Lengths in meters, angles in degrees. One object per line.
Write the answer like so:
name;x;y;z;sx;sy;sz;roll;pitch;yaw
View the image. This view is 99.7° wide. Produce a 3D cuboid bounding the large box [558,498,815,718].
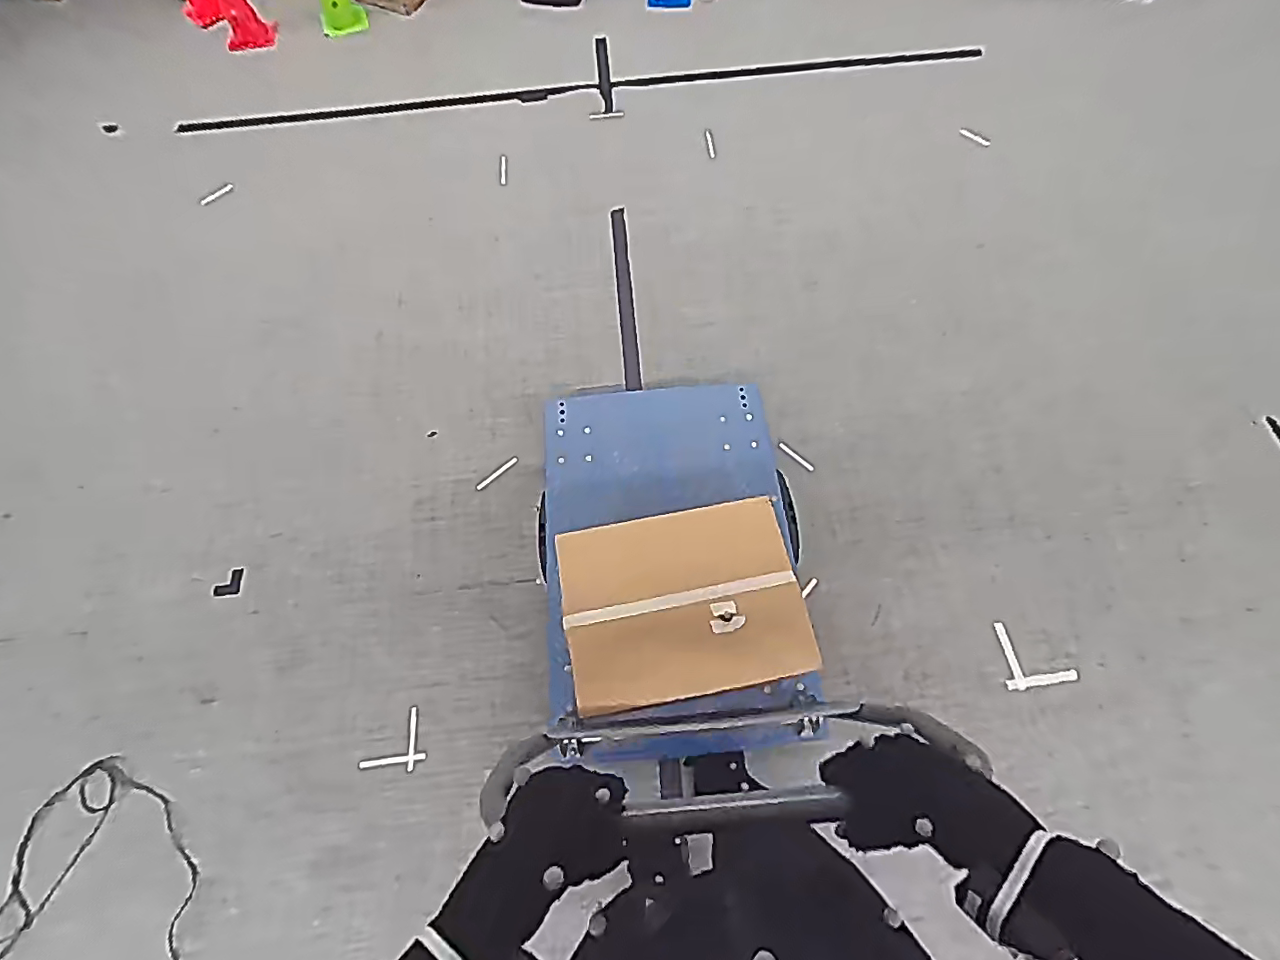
large box;0.071;0.269;1.085;0.408;0.320;0.320;-10;67;-4
